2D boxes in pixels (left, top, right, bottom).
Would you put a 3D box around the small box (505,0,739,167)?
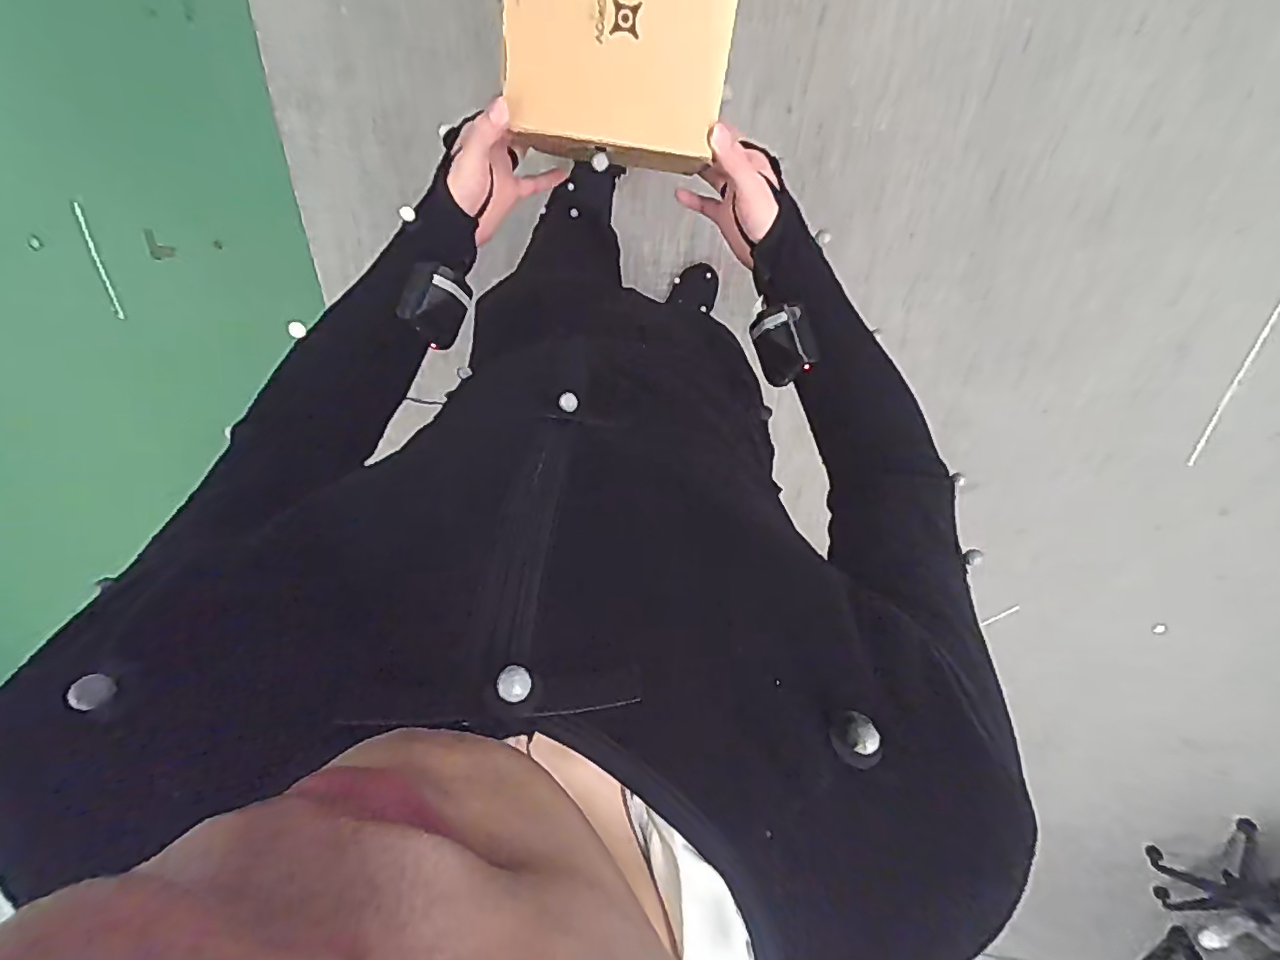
[{"bbox_3d":[-0.013,-0.389,0.484,0.179,0.176,0.168,8,116,-1],"label":"small box"}]
